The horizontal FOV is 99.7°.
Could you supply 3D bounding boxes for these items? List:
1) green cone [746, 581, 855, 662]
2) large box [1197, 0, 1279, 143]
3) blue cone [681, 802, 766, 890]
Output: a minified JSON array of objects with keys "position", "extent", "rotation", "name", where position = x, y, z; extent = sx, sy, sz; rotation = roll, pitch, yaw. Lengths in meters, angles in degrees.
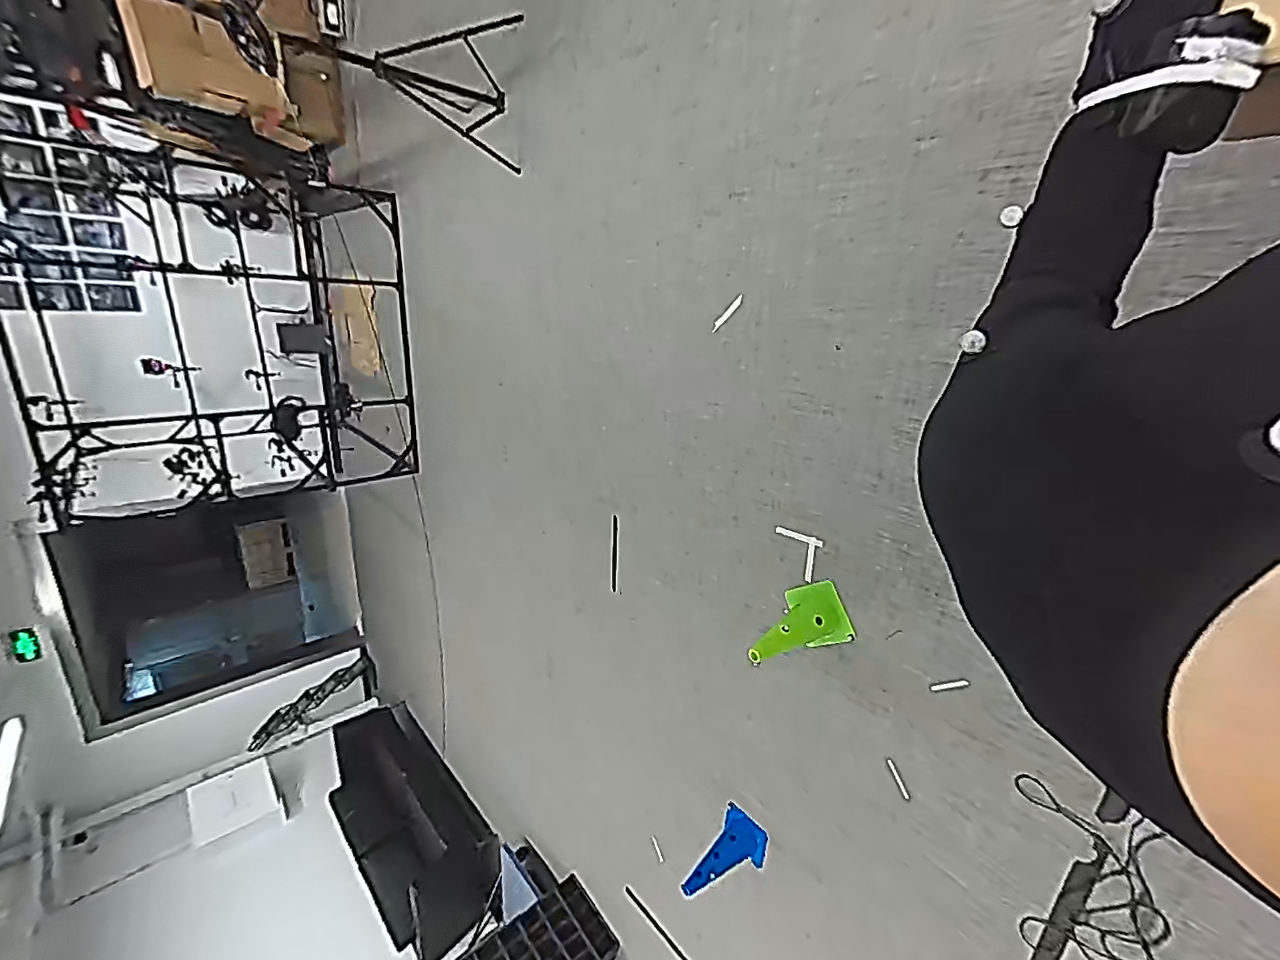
[{"position":[0.457,0.467,1.662],"extent":[0.202,0.368,0.200],"rotation":[-34,74,49],"name":"green cone"},{"position":[0.612,-0.397,0.270],"extent":[0.408,0.320,0.320],"rotation":[22,121,42],"name":"large box"},{"position":[0.312,1.486,2.132],"extent":[0.192,0.380,0.193],"rotation":[26,119,44],"name":"blue cone"}]
